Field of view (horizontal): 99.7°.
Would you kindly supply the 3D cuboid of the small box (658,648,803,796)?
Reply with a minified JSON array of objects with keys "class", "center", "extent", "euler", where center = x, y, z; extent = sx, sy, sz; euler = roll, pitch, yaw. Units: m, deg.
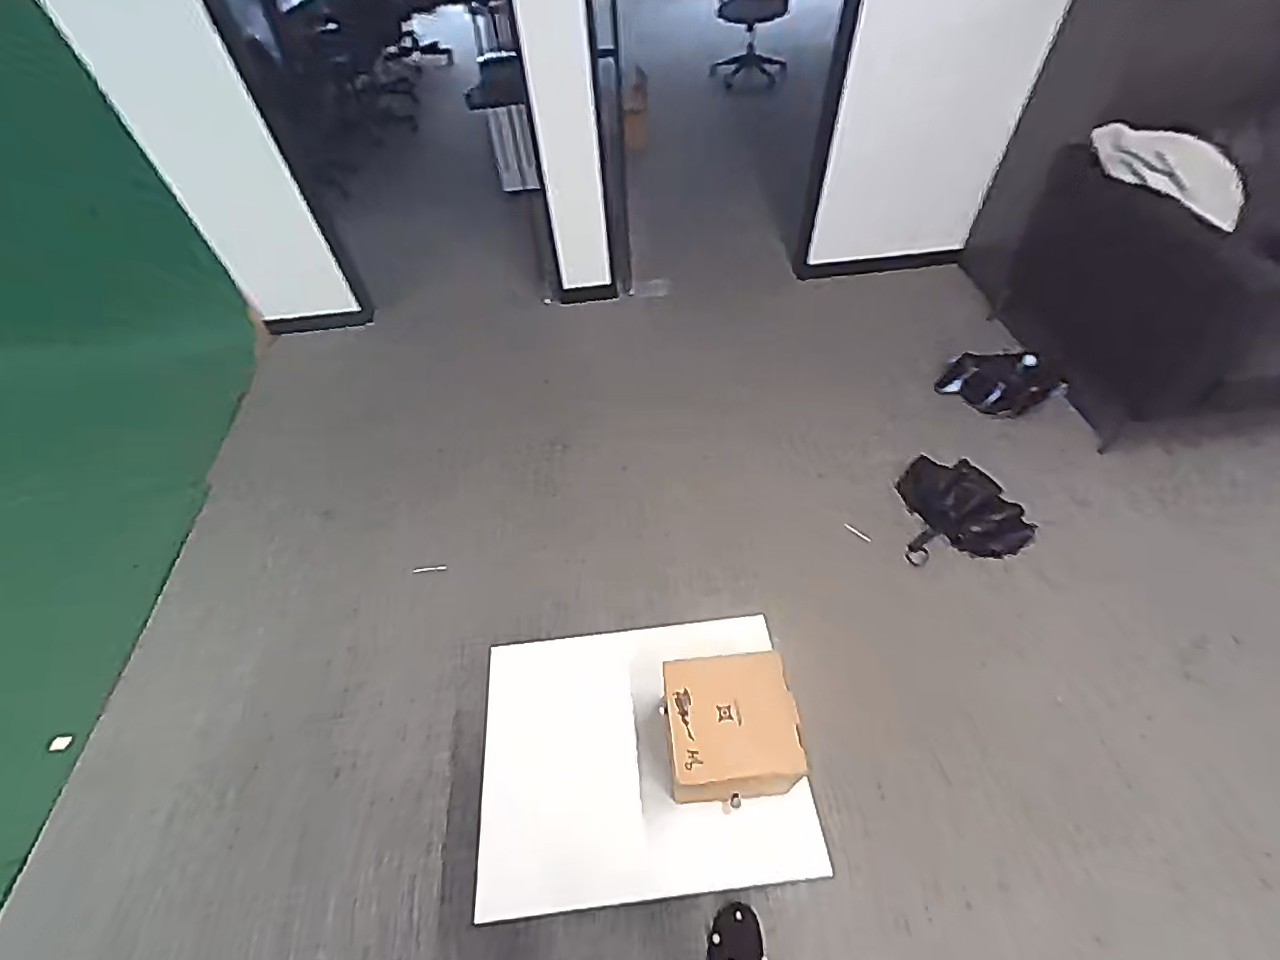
[{"class":"small box","center":[0.122,0.365,0.811],"extent":[0.179,0.176,0.168],"euler":[-4,52,-2]}]
